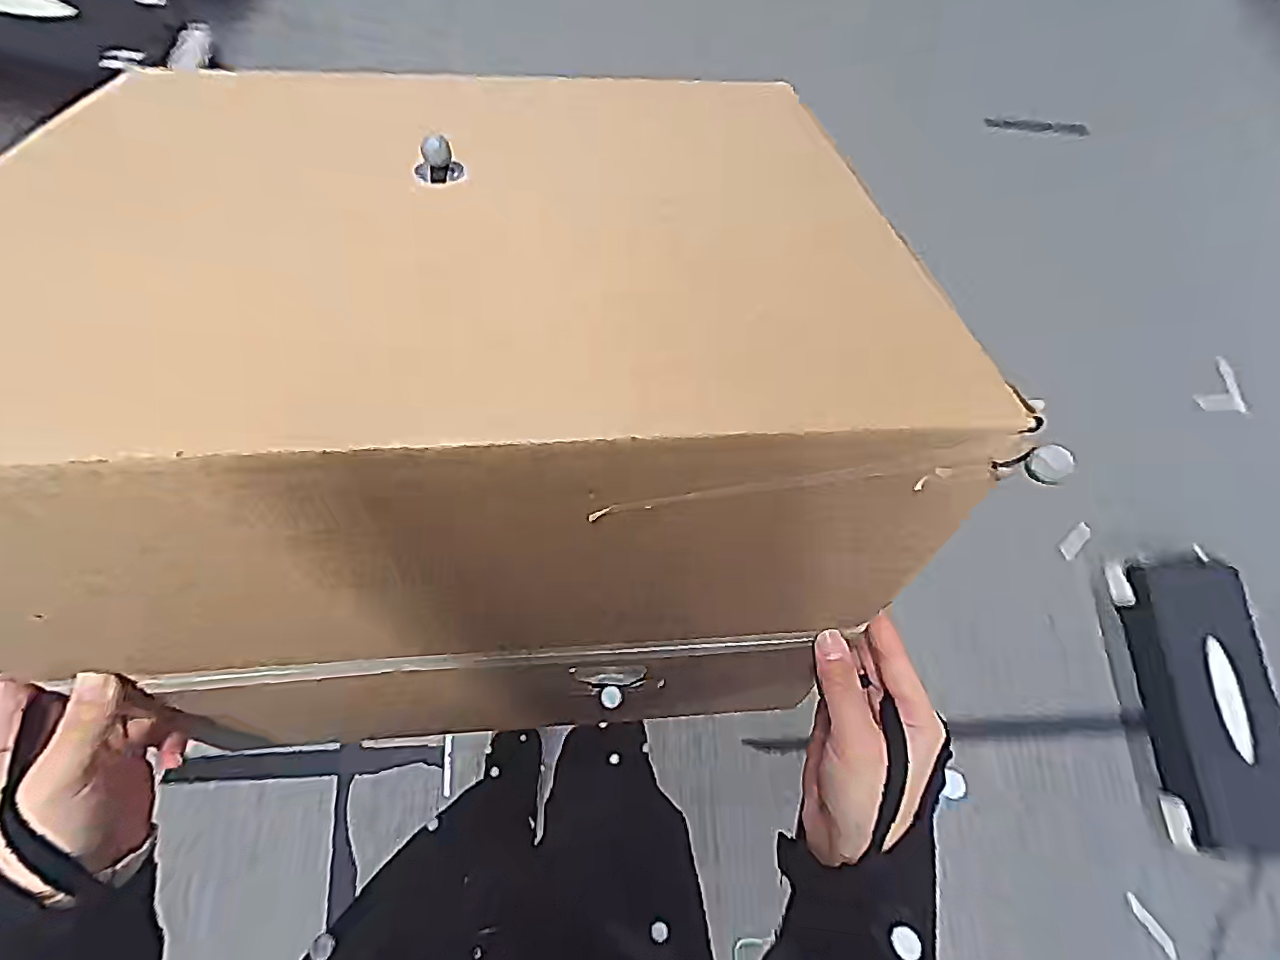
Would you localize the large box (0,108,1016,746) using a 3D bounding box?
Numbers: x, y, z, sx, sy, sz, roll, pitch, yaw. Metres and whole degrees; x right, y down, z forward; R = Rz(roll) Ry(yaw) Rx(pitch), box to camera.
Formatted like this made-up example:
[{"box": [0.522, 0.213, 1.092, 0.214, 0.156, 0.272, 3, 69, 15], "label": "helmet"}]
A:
[{"box": [-0.088, -0.028, 0.372, 0.408, 0.320, 0.320, -2, 53, -4], "label": "large box"}]
